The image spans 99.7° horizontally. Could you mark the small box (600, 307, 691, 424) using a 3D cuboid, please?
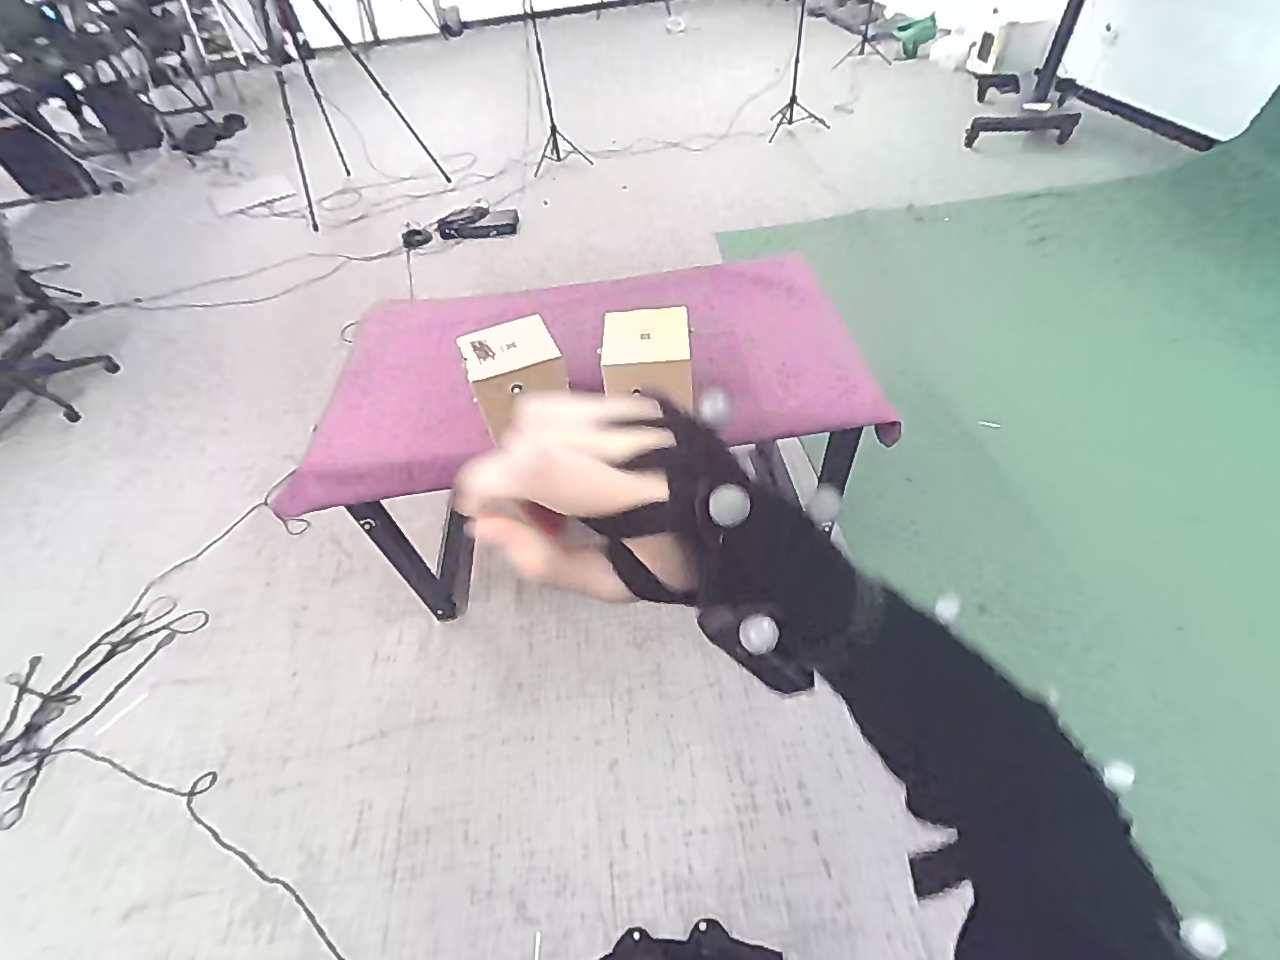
[{"bbox_3d":[0.016,-0.226,1.098,0.168,0.176,0.179,-3,48,4],"label":"small box"}]

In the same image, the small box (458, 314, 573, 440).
[{"bbox_3d":[-0.251,-0.207,1.107,0.179,0.176,0.168,-19,49,-12],"label":"small box"}]
